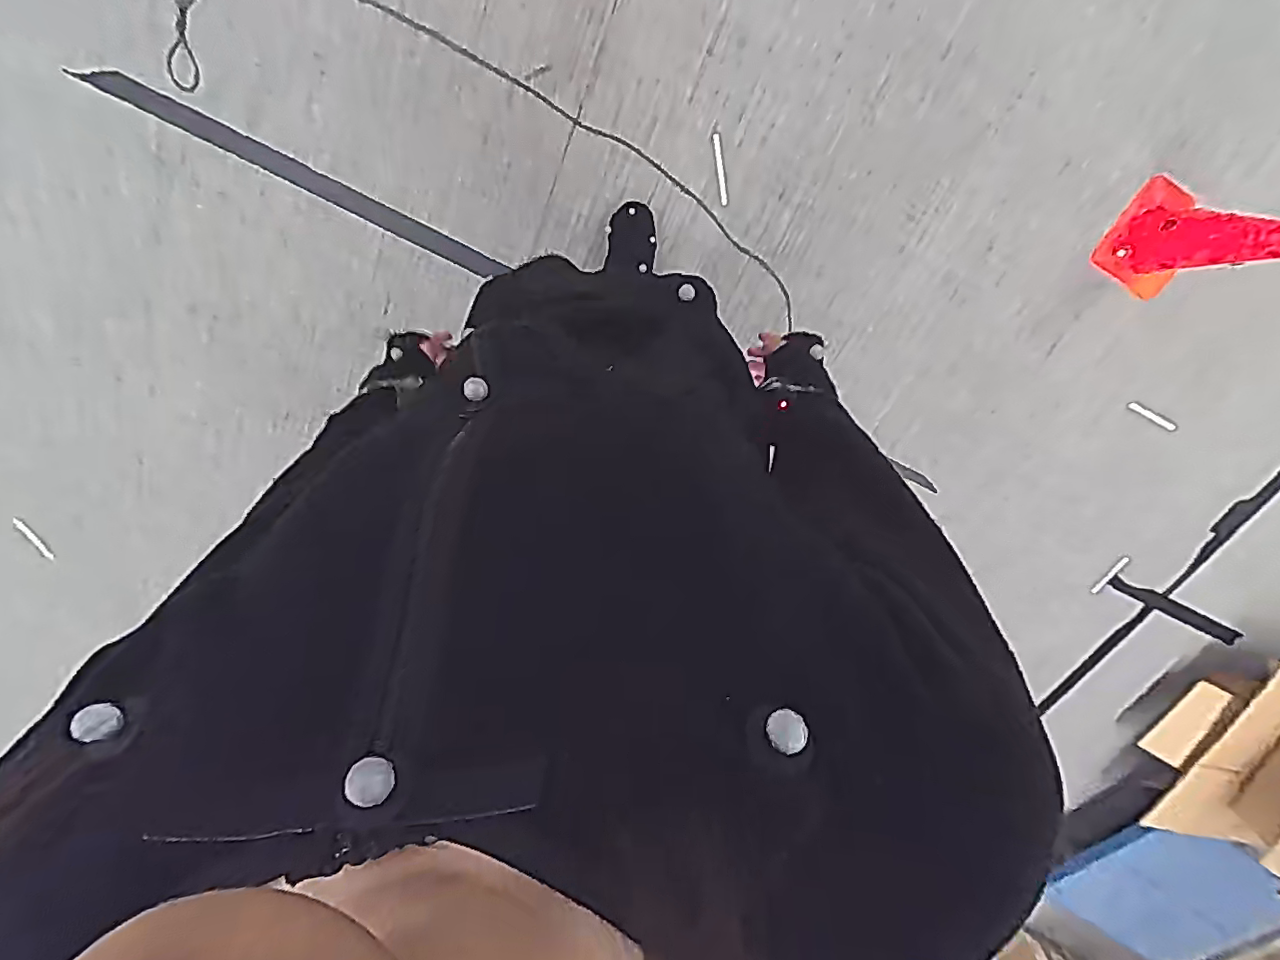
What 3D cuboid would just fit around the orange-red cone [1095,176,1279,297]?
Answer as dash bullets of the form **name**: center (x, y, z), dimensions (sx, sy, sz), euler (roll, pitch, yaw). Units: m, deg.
- **orange-red cone**: center (1.146, -0.463, 1.047), dimensions (0.199, 0.360, 0.198), euler (27, 113, -12)
